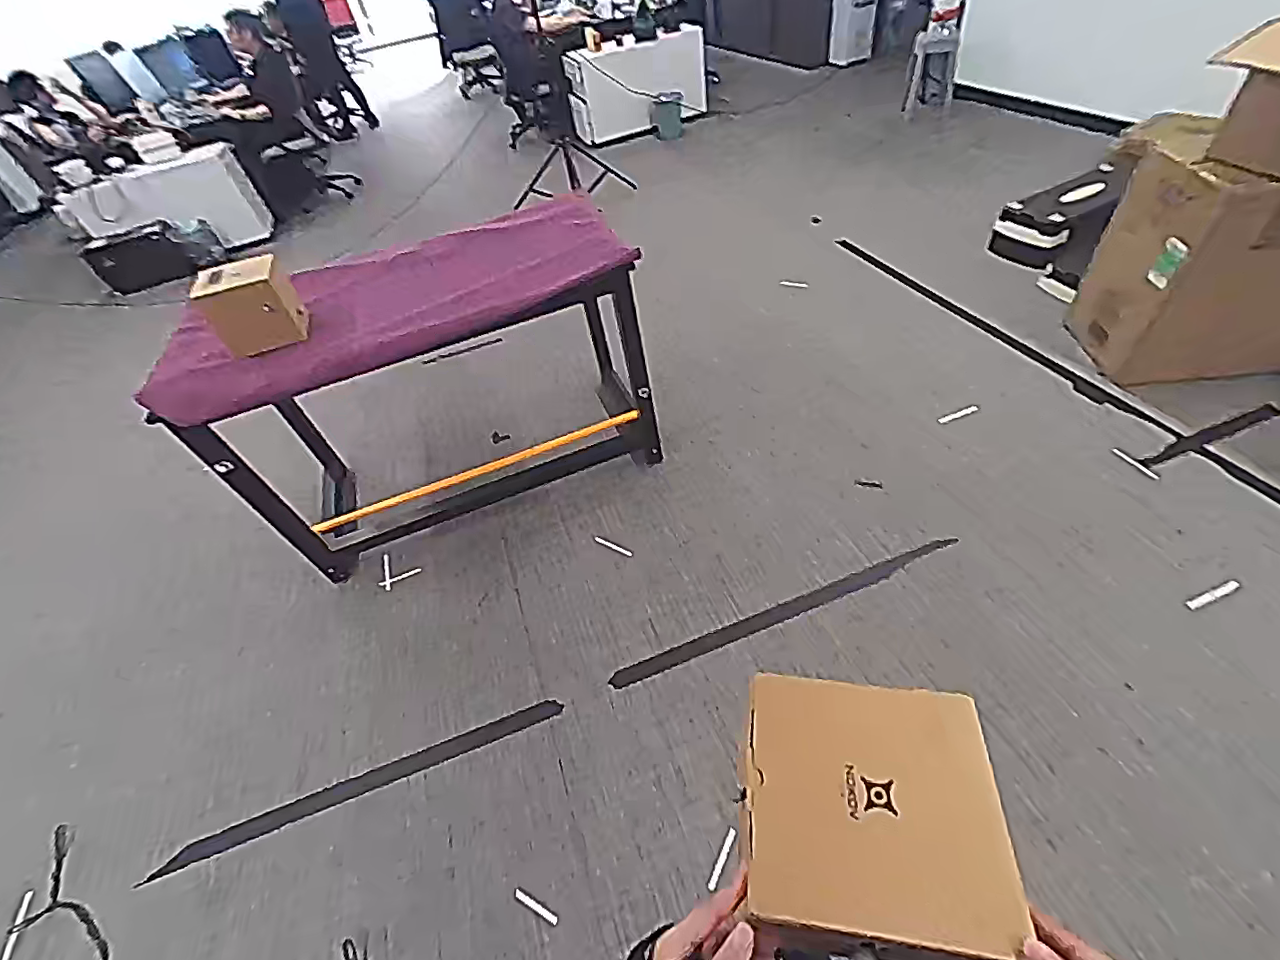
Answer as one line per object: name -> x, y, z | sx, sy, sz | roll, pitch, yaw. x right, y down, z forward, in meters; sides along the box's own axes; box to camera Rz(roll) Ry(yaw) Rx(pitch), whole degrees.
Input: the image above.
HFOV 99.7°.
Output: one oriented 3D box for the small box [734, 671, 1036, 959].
small box -> 0.172, 0.279, 0.447 | 0.179, 0.176, 0.168 | 2, 47, 10
